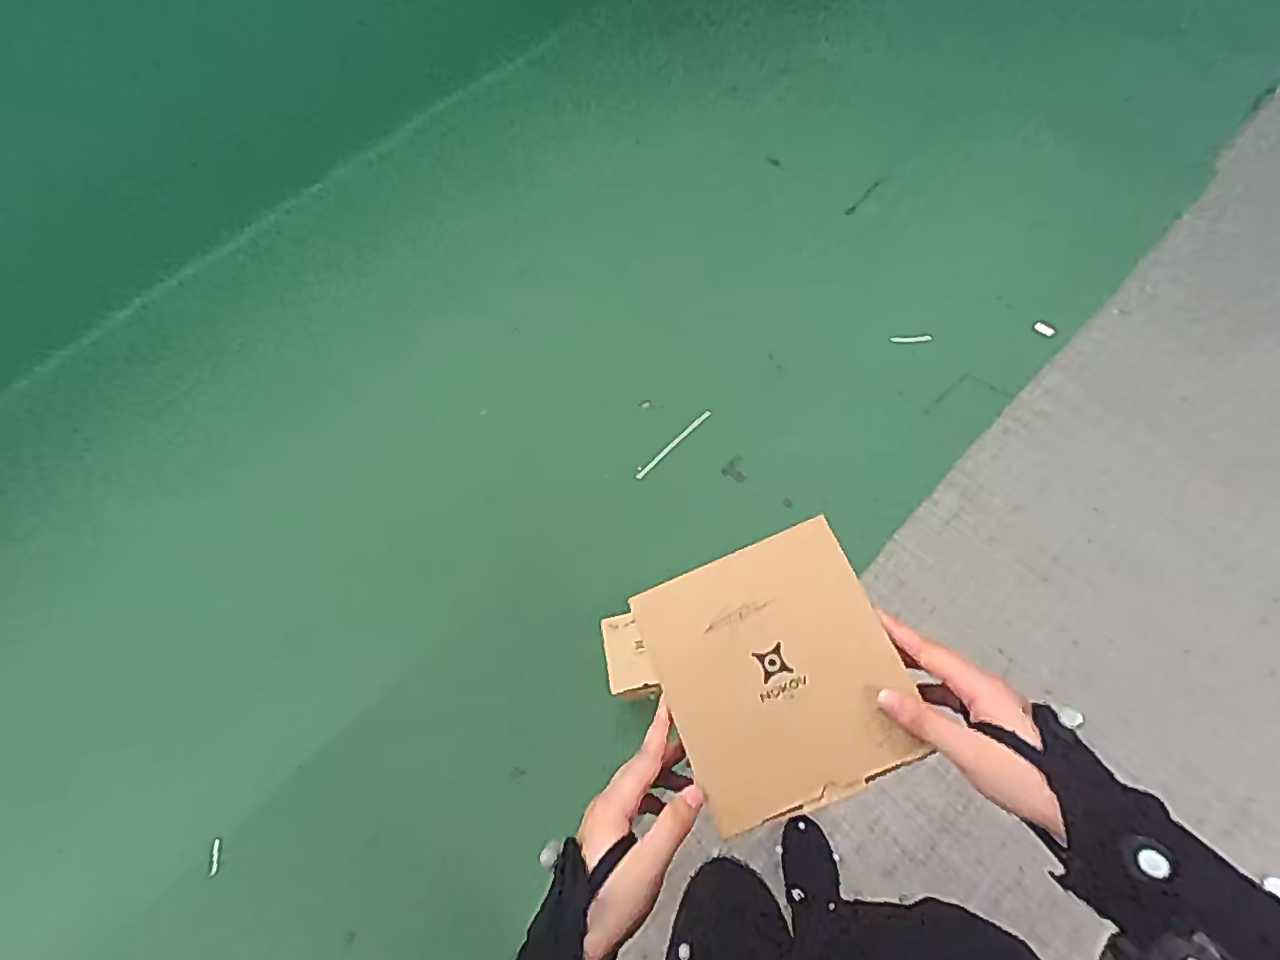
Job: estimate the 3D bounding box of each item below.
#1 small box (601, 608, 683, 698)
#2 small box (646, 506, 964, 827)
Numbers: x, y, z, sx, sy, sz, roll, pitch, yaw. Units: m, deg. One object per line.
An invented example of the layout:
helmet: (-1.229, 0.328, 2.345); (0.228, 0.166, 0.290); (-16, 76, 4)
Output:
small box: (0.013, 0.424, 1.315); (0.168, 0.176, 0.179); (-13, 61, 4)
small box: (0.122, 0.147, 0.457); (0.168, 0.176, 0.179); (-24, 70, 1)
